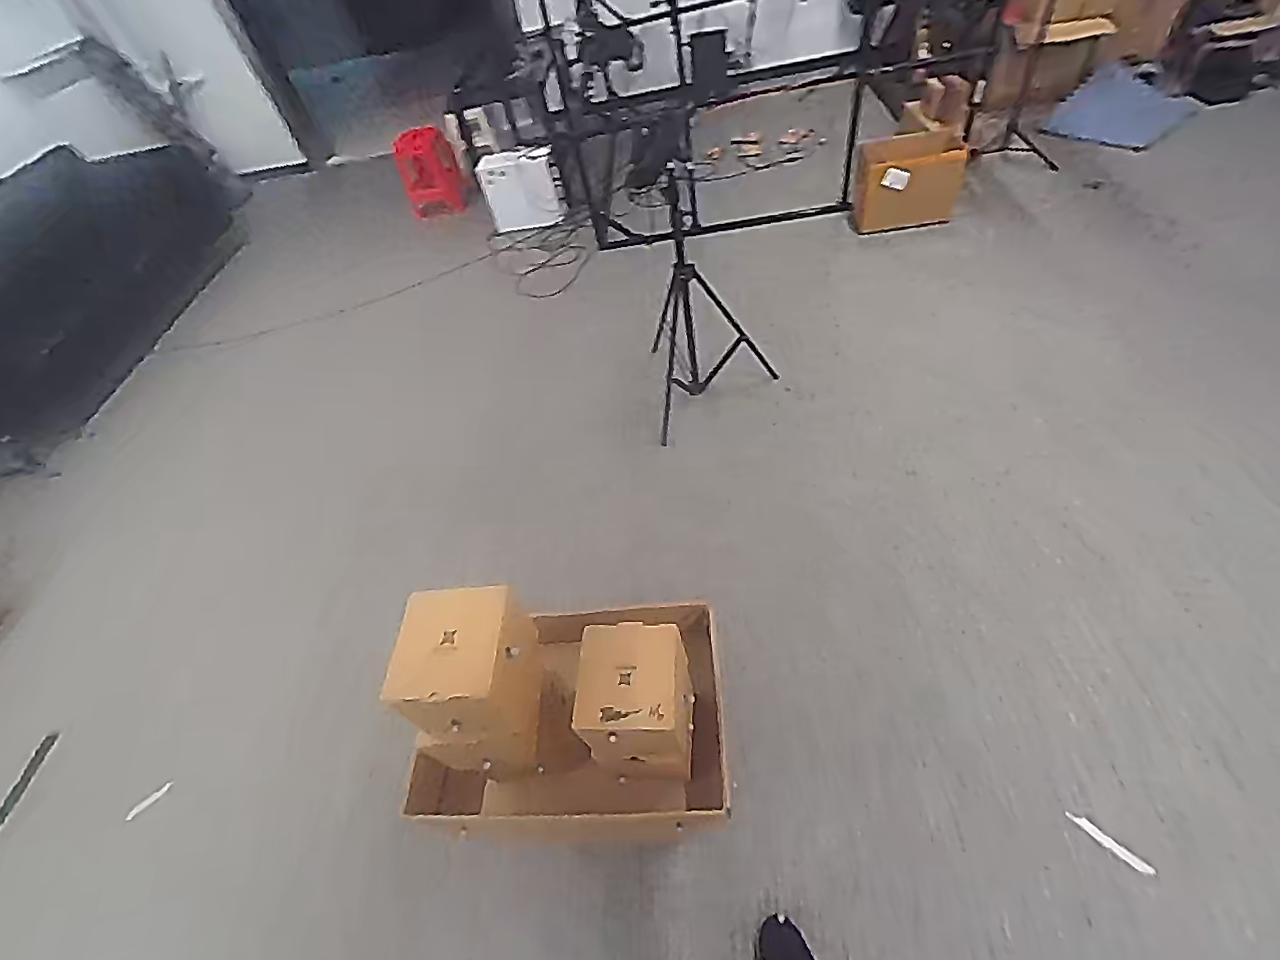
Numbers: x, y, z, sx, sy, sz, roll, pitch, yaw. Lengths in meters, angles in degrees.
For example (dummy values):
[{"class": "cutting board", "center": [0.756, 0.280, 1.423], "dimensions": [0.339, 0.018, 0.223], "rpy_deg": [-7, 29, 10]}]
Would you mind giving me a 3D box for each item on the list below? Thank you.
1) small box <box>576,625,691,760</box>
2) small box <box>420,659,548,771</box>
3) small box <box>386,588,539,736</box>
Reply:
[{"class": "small box", "center": [-0.001, 0.372, 0.948], "dimensions": [0.168, 0.176, 0.179], "rpy_deg": [-3, 50, 10]}, {"class": "small box", "center": [-0.270, 0.410, 0.985], "dimensions": [0.168, 0.176, 0.179], "rpy_deg": [-8, 50, 4]}, {"class": "small box", "center": [-0.268, 0.294, 0.866], "dimensions": [0.168, 0.176, 0.179], "rpy_deg": [-5, 50, 6]}]
